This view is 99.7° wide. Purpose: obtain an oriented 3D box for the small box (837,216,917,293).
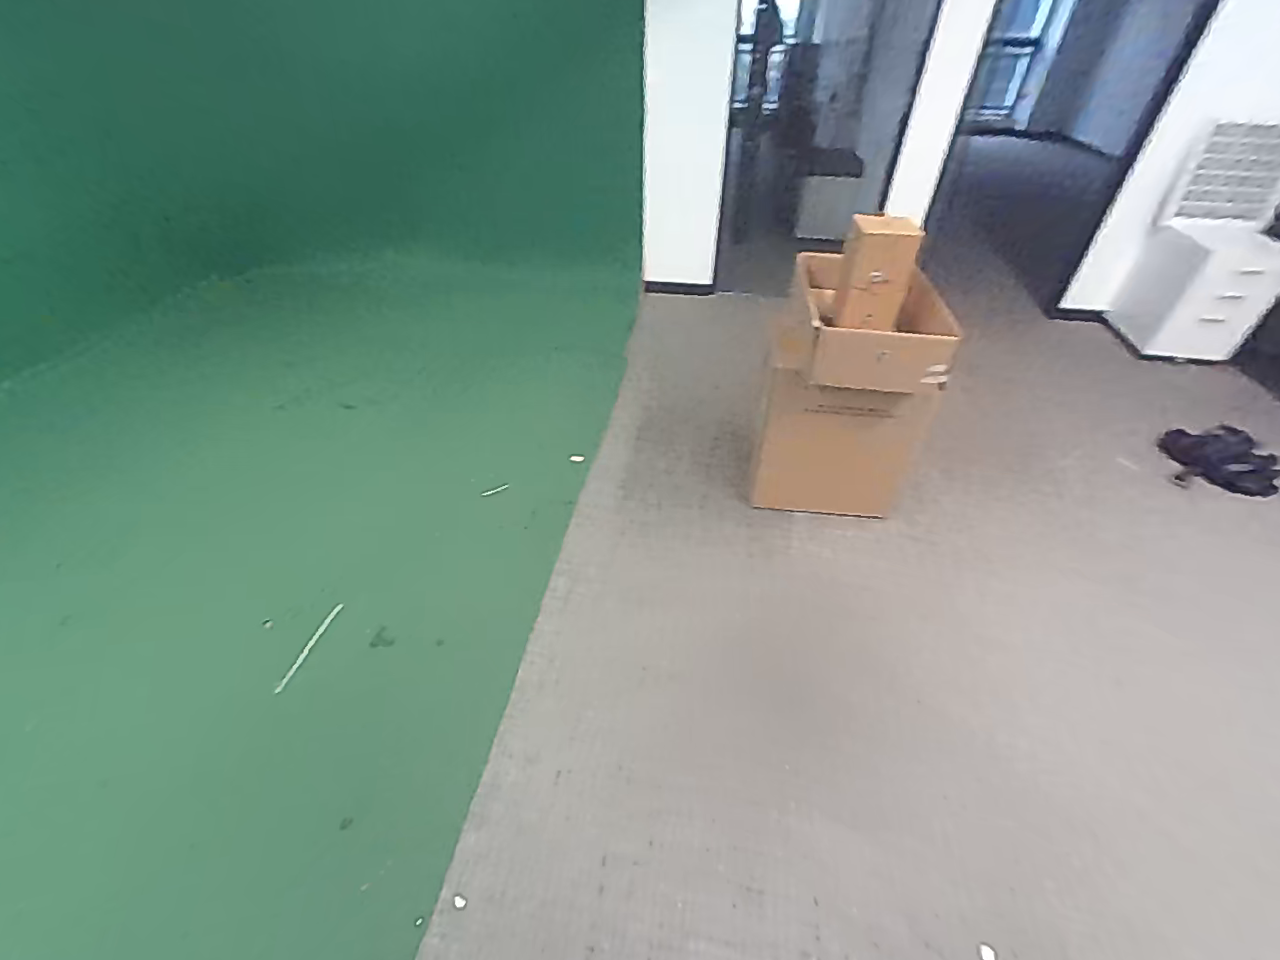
[{"bbox_3d":[0.715,-0.690,1.654,0.168,0.176,0.179,4,42,4],"label":"small box"}]
